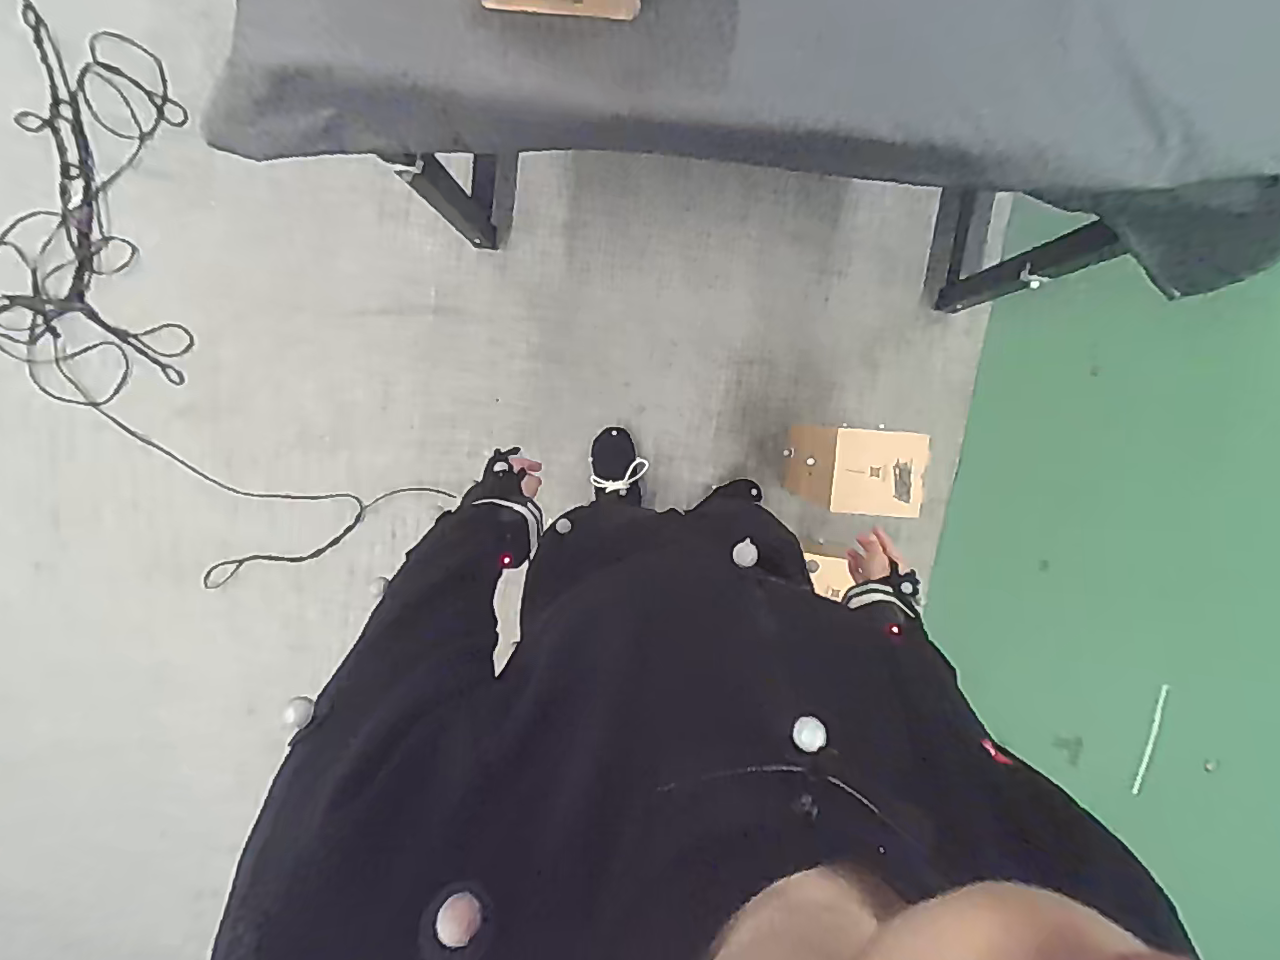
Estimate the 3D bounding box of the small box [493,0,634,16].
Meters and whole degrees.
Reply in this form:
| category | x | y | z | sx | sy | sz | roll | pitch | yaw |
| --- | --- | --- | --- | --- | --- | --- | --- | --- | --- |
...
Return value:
| category | x | y | z | sx | sy | sz | roll | pitch | yaw |
| --- | --- | --- | --- | --- | --- | --- | --- | --- | --- |
| small box | -0.080 | -0.571 | 0.477 | 0.168 | 0.176 | 0.179 | 4 | 97 | 0 |

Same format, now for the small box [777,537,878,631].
| category | x | y | z | sx | sy | sz | roll | pitch | yaw |
| --- | --- | --- | --- | --- | --- | --- | --- | --- | --- |
| small box | 0.439 | 0.241 | 1.300 | 0.179 | 0.176 | 0.168 | 9 | 98 | 1 |

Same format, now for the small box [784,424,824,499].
| category | x | y | z | sx | sy | sz | roll | pitch | yaw |
| --- | --- | --- | --- | --- | --- | --- | --- | --- | --- |
| small box | 0.451 | -0.042 | 1.265 | 0.179 | 0.176 | 0.168 | 4 | 96 | 1 |

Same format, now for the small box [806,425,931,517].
| category | x | y | z | sx | sy | sz | roll | pitch | yaw |
| --- | --- | --- | --- | --- | --- | --- | --- | --- | --- |
| small box | 0.456 | -0.025 | 1.102 | 0.179 | 0.176 | 0.168 | 4 | 96 | 1 |
